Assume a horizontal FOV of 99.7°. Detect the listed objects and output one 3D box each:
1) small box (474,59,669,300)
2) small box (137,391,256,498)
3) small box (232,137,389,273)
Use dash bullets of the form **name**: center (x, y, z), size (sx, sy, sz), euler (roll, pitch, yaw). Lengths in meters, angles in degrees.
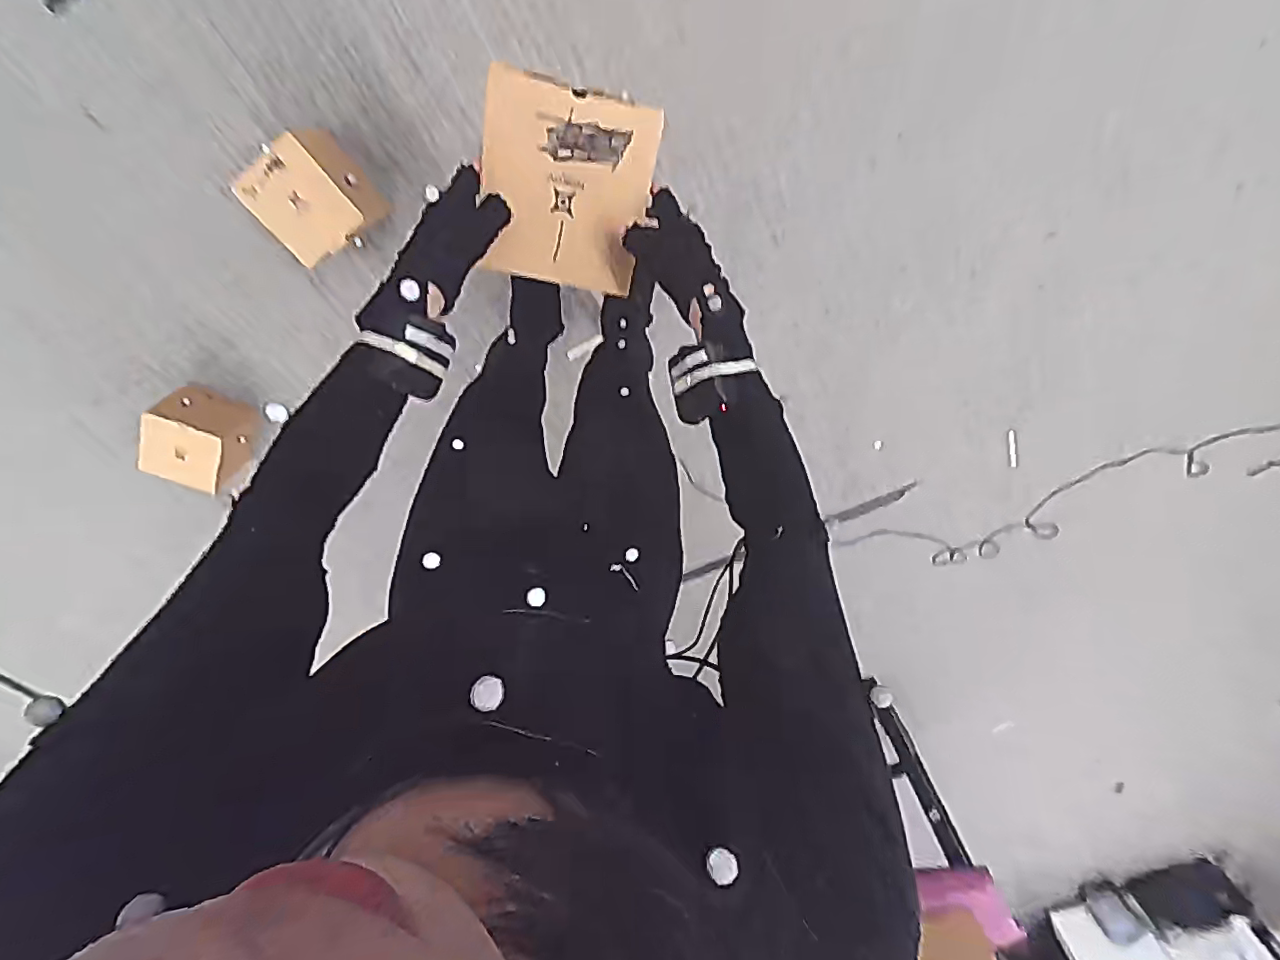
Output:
- **small box**: center (-0.079, -0.319, 0.588), size (0.168, 0.176, 0.179), euler (8, 121, -12)
- **small box**: center (-1.082, -0.093, 1.329), size (0.168, 0.176, 0.179), euler (22, 119, -17)
- **small box**: center (-0.638, -0.549, 1.073), size (0.168, 0.176, 0.179), euler (-31, 121, 14)
